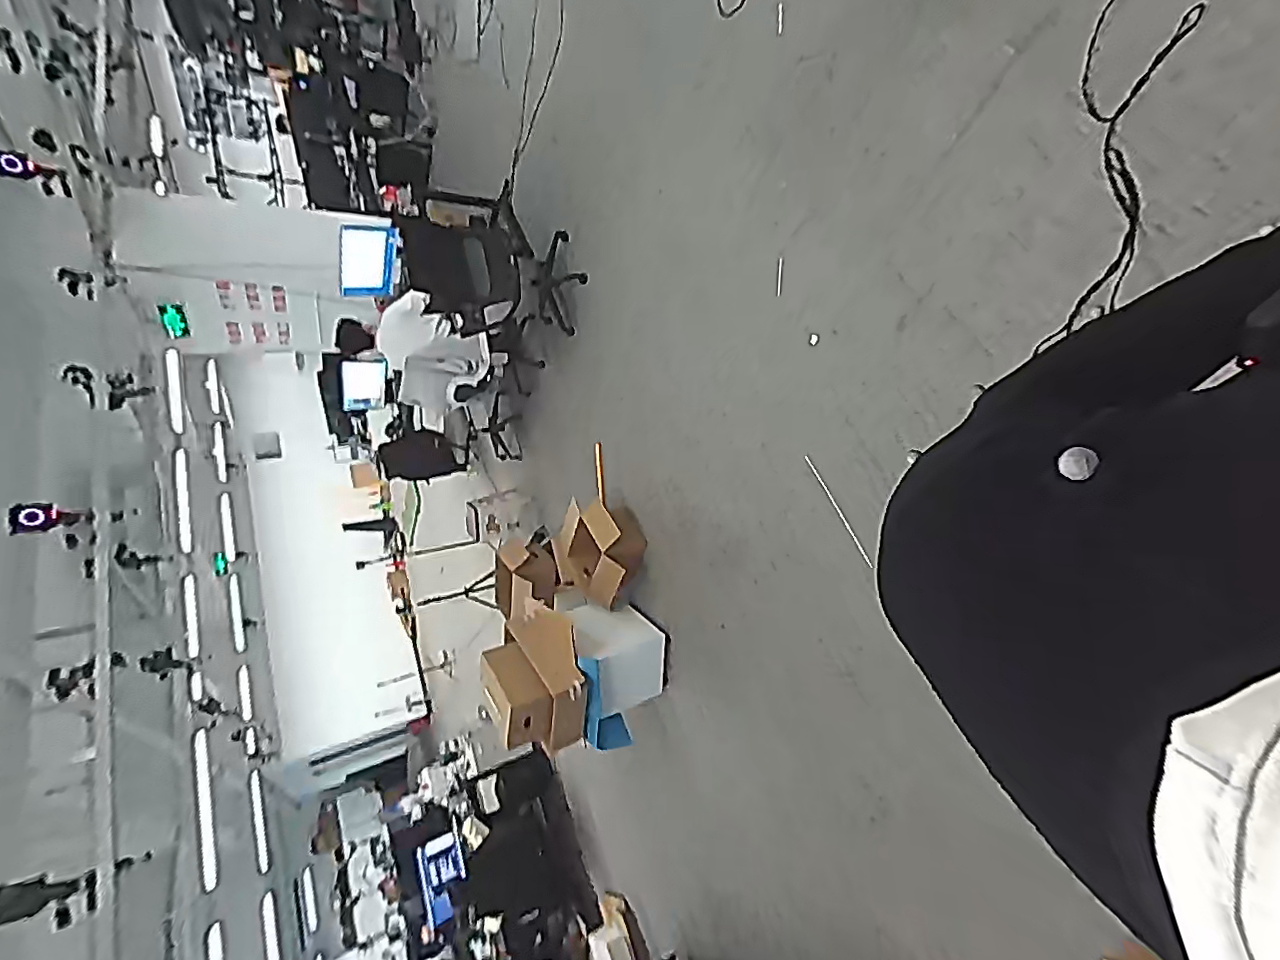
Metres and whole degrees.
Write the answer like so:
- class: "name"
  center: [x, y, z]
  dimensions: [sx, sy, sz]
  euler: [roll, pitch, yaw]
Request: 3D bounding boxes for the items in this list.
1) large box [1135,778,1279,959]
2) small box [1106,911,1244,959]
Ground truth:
- class: "large box"
  center: [1.298, 0.883, 1.075]
  dimensions: [0.408, 0.320, 0.320]
  euler: [2, 101, 56]
- class: "small box"
  center: [0.916, 0.880, 0.906]
  dimensions: [0.179, 0.176, 0.168]
  euler: [8, 104, 55]
